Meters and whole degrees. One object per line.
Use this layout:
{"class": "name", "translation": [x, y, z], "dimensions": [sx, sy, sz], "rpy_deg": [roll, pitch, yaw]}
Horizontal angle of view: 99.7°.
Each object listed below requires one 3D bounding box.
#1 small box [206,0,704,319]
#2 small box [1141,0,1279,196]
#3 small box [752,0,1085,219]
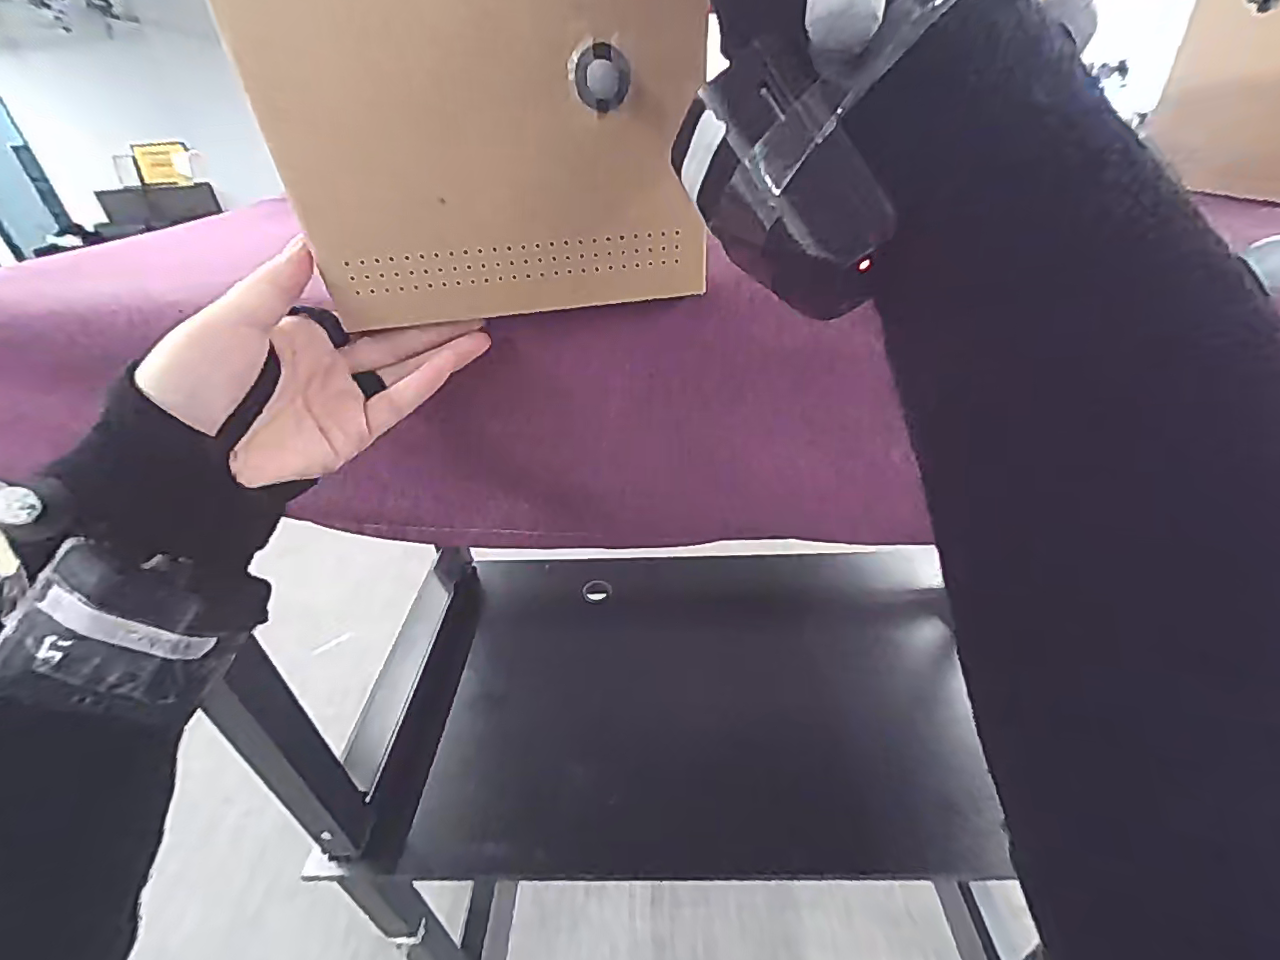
{"class": "small box", "translation": [-0.069, -0.195, 0.267], "dimensions": [0.179, 0.176, 0.168], "rpy_deg": [-8, 39, -5]}
{"class": "small box", "translation": [0.517, -0.297, 0.374], "dimensions": [0.168, 0.176, 0.179], "rpy_deg": [0, 34, 6]}
{"class": "small box", "translation": [0.186, -0.295, 0.401], "dimensions": [0.168, 0.176, 0.179], "rpy_deg": [-4, 33, -2]}
